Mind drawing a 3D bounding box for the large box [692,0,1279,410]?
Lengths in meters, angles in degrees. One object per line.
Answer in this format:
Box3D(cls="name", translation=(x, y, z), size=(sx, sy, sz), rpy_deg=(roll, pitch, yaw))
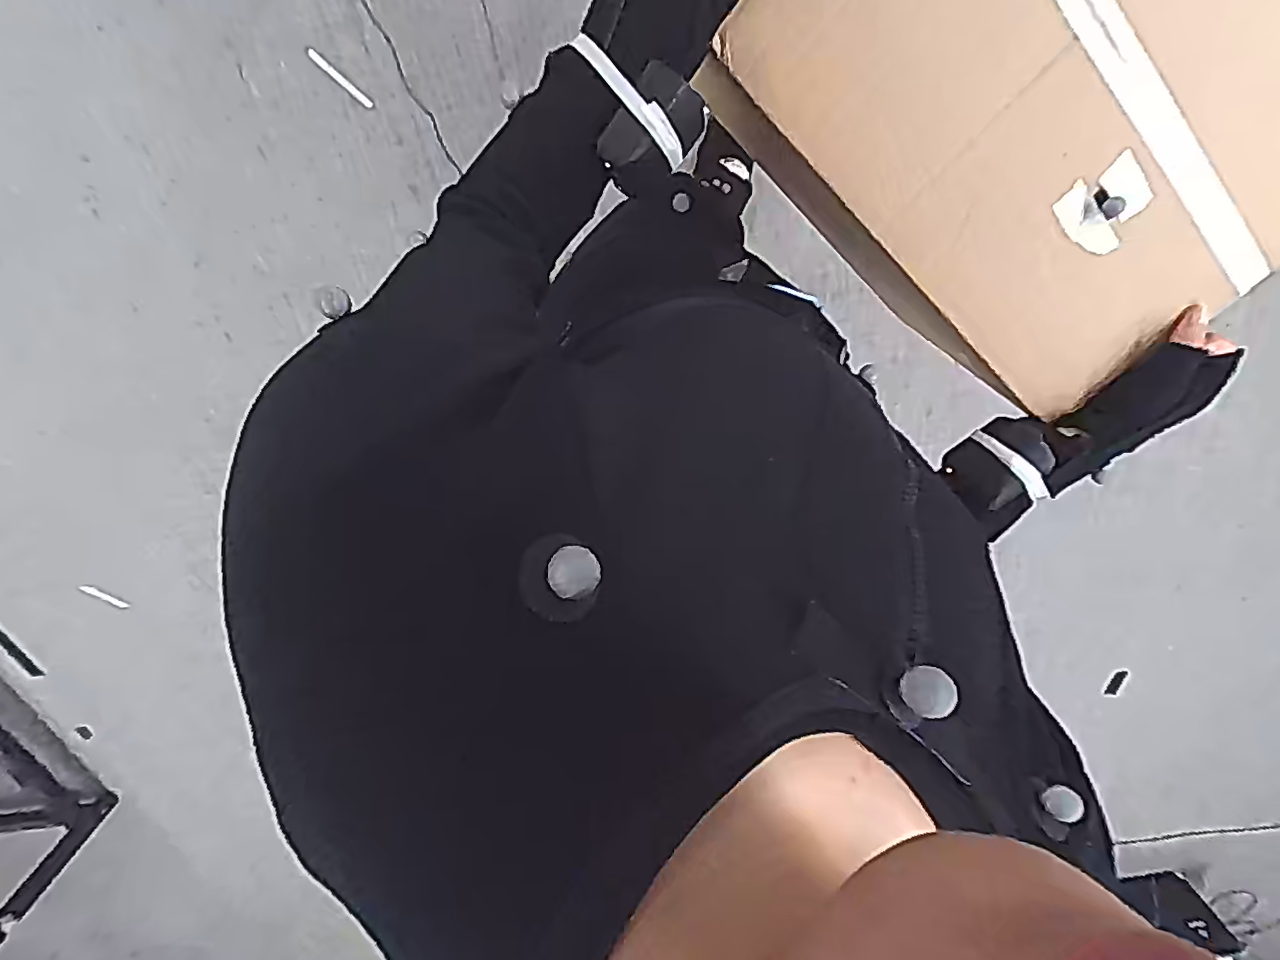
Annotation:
Box3D(cls="large box", translation=(0.299, -0.343, 0.471), size=(0.408, 0.320, 0.320), rpy_deg=(36, 118, -21))
